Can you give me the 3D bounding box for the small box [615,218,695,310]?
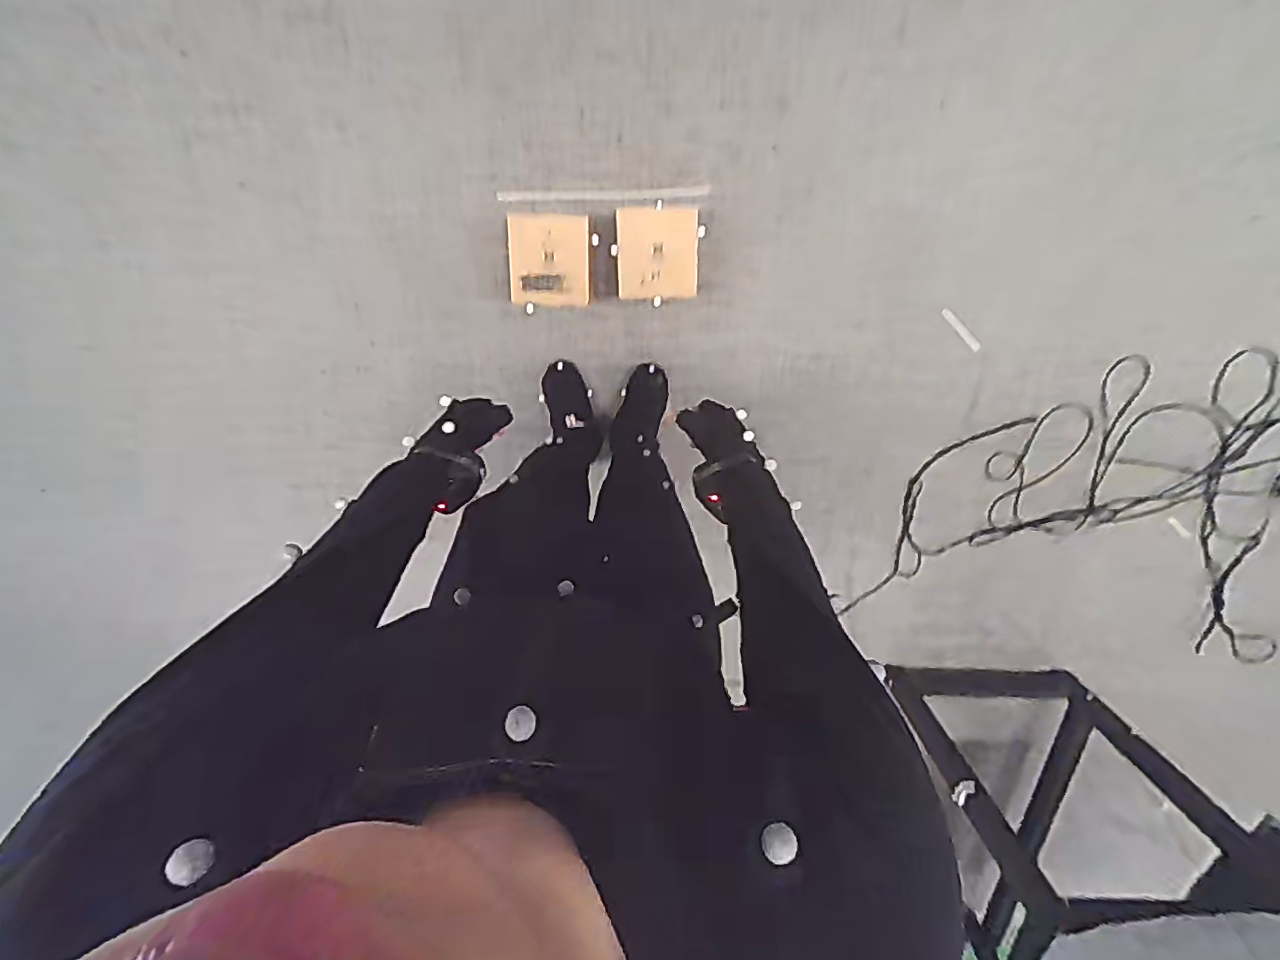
[{"bbox_3d":[0.030,-0.468,1.189,0.168,0.176,0.179,-1,109,1],"label":"small box"}]
